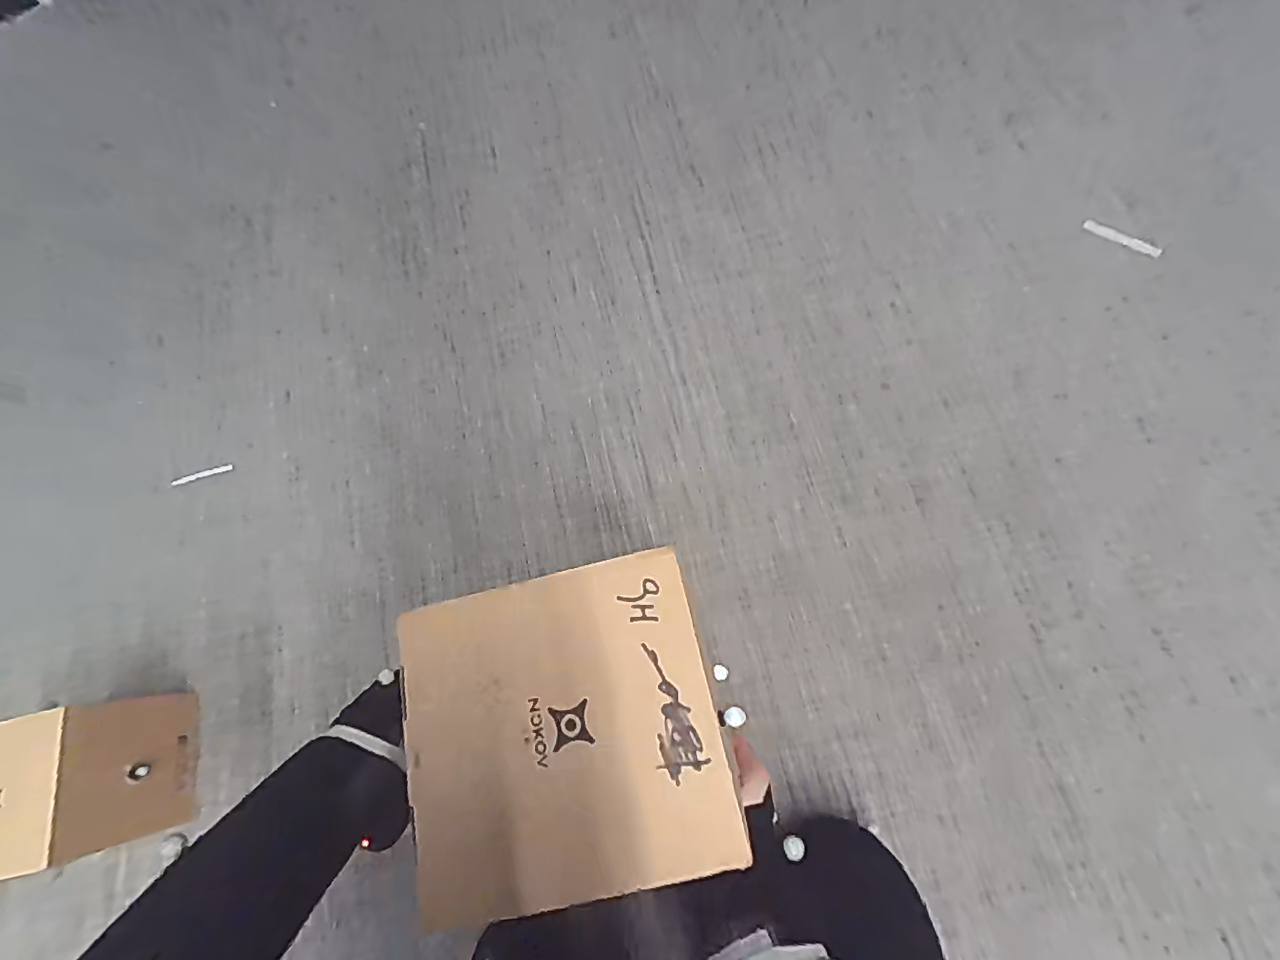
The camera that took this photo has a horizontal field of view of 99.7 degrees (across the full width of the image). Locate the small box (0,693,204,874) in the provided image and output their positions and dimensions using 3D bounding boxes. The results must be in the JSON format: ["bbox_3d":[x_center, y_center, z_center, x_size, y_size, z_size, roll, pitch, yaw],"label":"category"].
[{"bbox_3d":[-0.704,0.376,0.687,0.179,0.176,0.168,-15,71,5],"label":"small box"}]

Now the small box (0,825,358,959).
[{"bbox_3d":[-0.330,0.379,0.351,0.176,0.168,0.179,36,73,13],"label":"small box"}]
